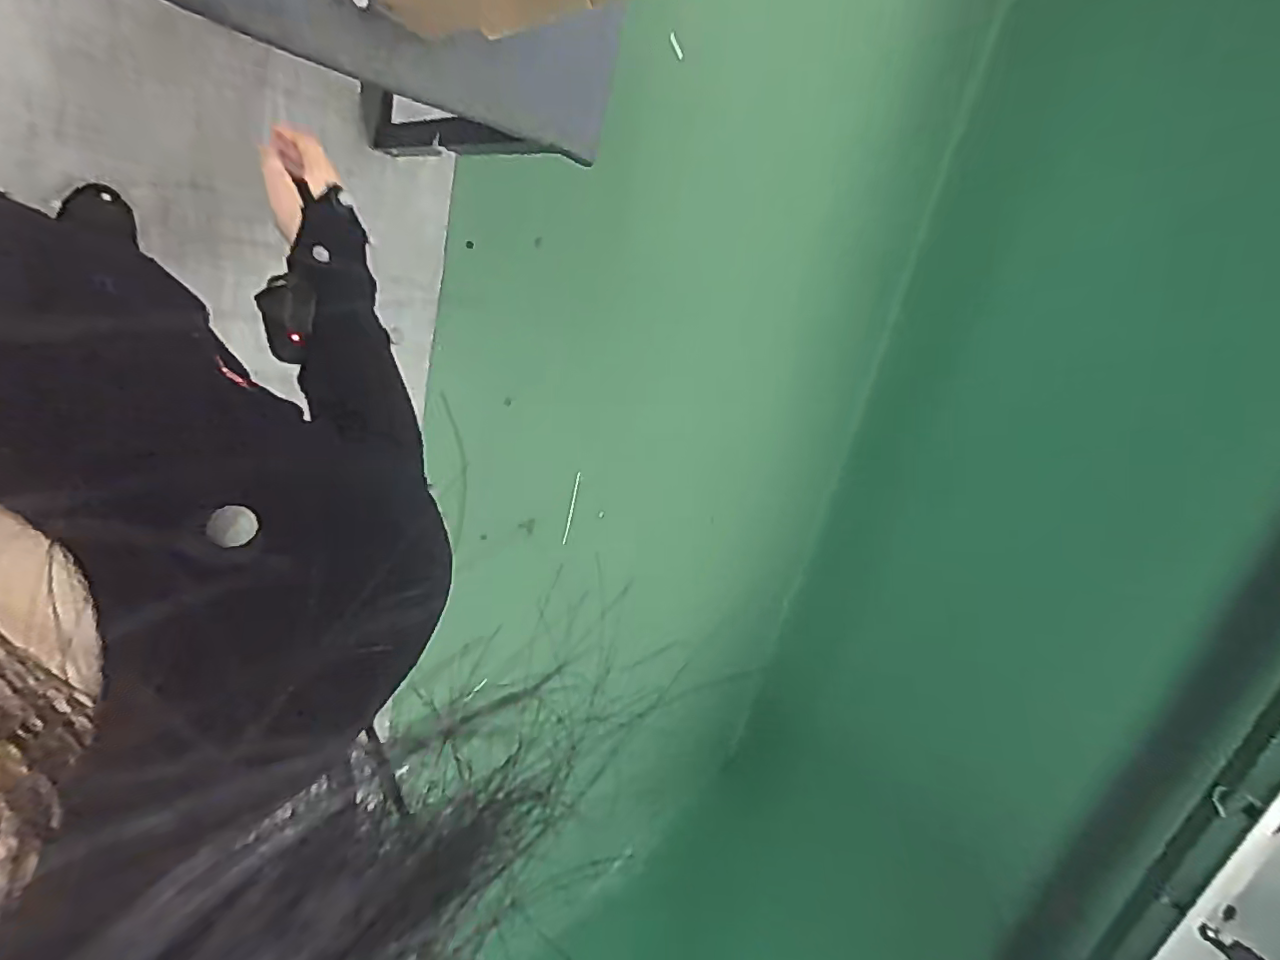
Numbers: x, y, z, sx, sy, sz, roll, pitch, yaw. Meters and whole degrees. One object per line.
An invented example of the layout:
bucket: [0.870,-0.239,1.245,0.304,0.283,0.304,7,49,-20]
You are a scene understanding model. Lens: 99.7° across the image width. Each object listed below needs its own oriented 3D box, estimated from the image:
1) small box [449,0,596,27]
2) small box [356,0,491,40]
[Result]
small box: [-0.118,-0.500,0.418,0.179,0.176,0.168,14,100,-49]
small box: [-0.227,-0.571,0.516,0.168,0.176,0.179,-2,112,-47]
